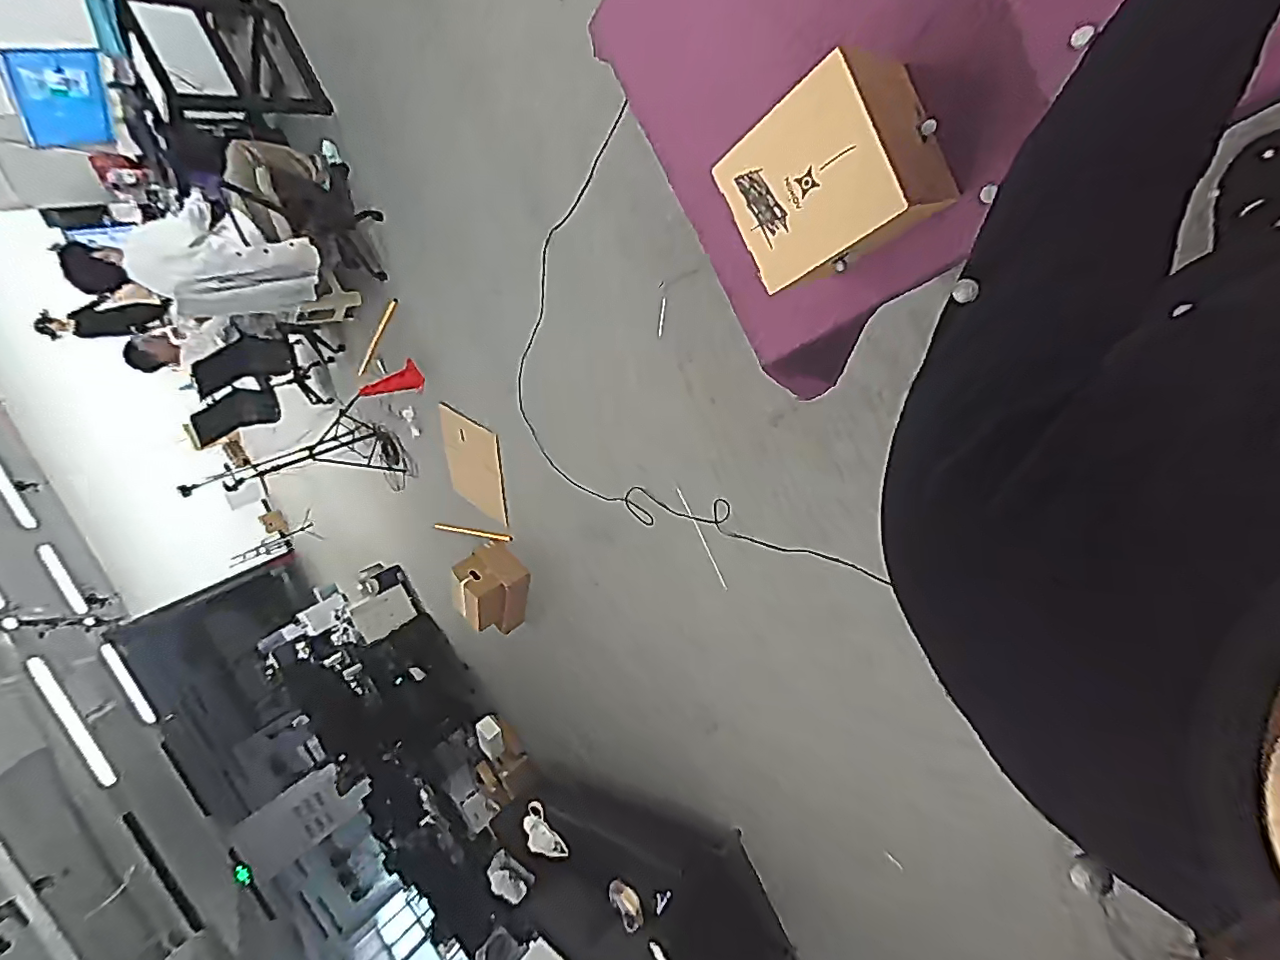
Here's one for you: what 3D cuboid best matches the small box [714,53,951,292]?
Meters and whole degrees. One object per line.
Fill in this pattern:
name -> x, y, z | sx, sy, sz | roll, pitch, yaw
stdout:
small box -> 0.227, -0.348, 0.638 | 0.179, 0.176, 0.168 | -21, 97, 50
